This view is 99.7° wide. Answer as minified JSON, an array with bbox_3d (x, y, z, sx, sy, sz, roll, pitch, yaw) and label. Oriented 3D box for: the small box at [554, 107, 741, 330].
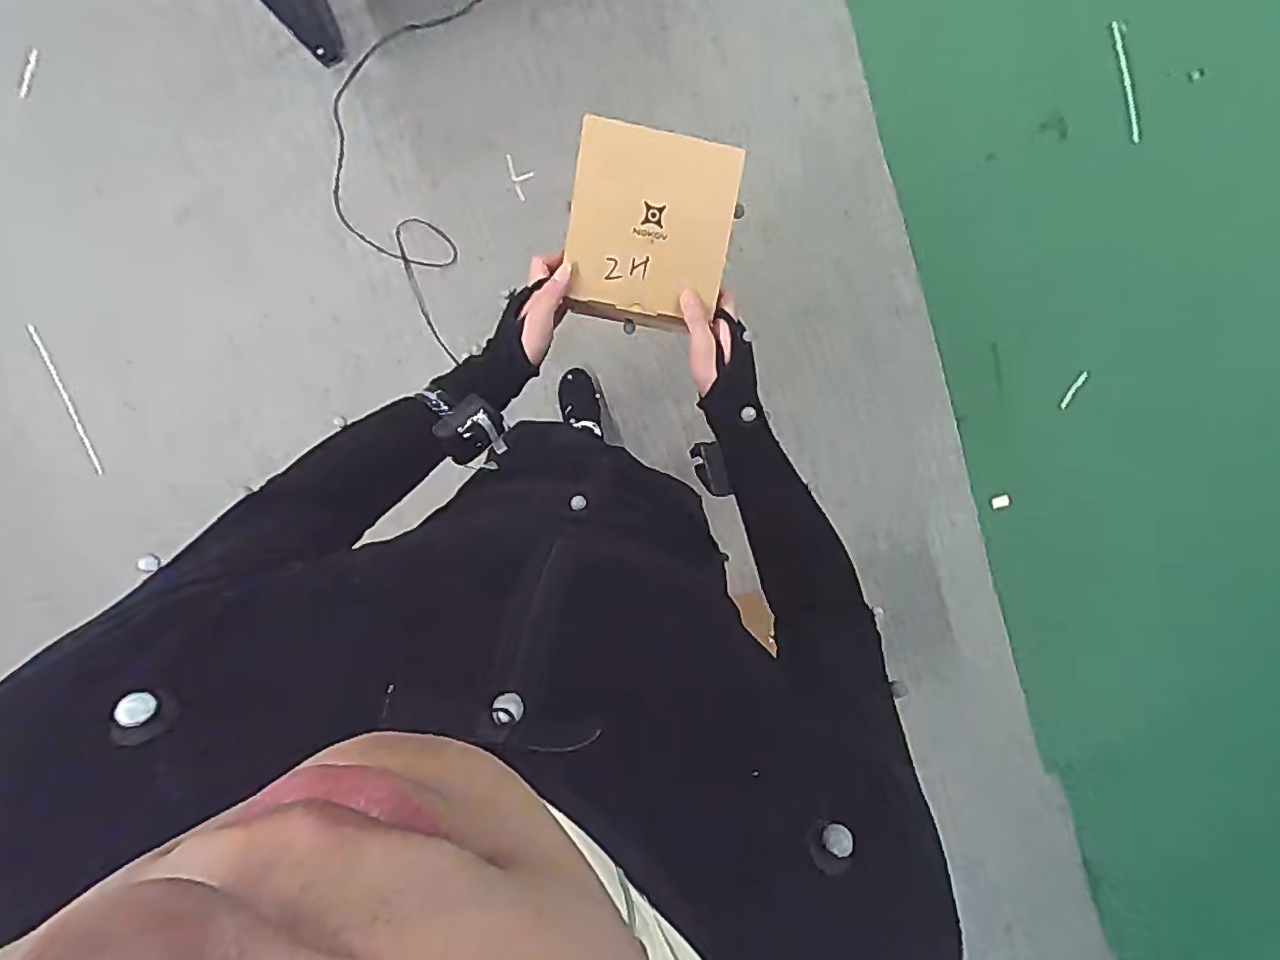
[{"bbox_3d":[0.001,-0.279,0.621,0.168,0.176,0.179,9,101,-6],"label":"small box"}]
